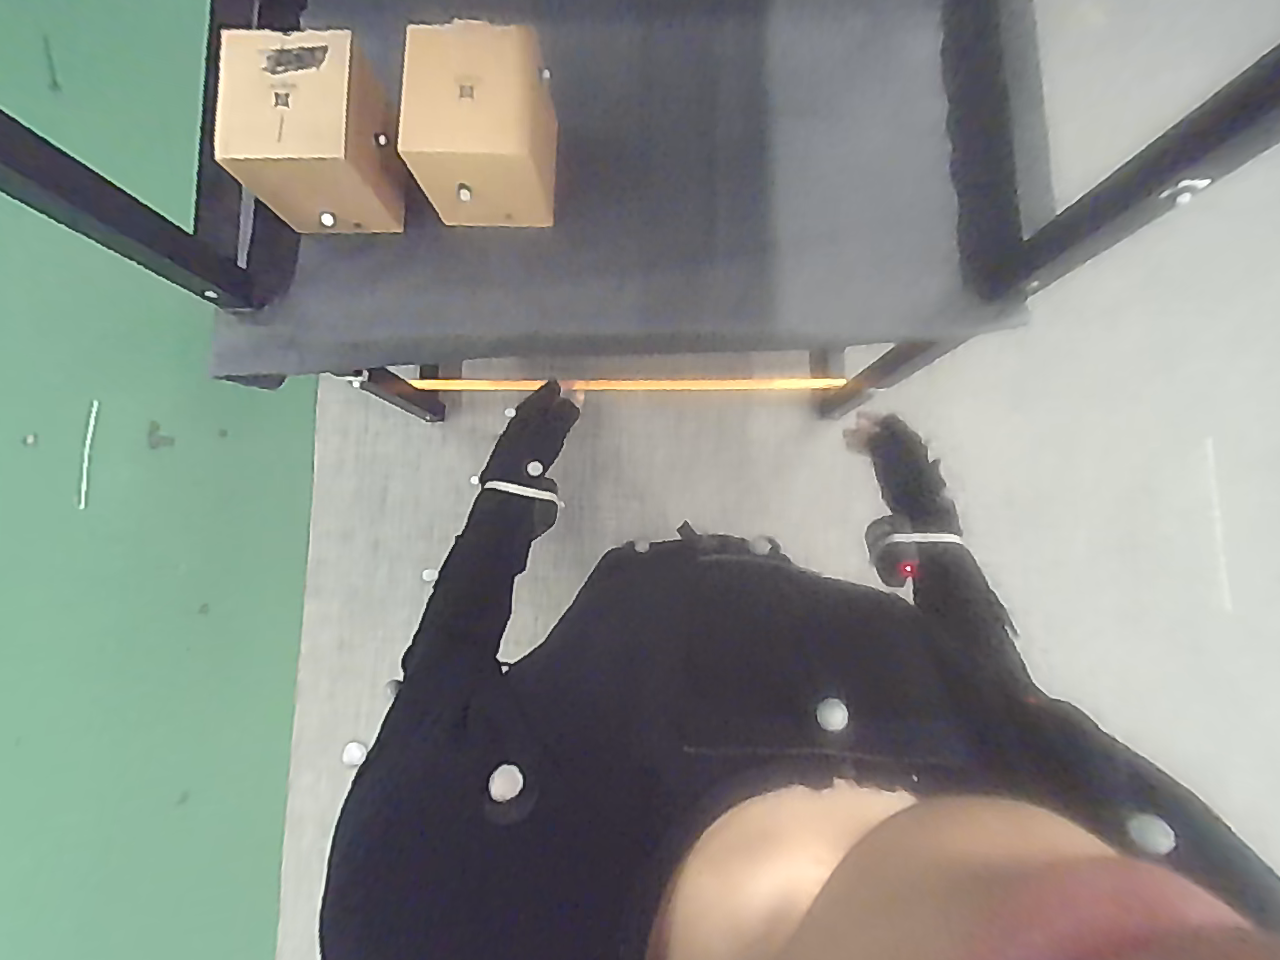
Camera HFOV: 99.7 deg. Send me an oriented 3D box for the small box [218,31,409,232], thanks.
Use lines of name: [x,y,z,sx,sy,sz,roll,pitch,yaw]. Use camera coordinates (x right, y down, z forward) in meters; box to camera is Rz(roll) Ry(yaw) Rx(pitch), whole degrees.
small box: [-0.441,-0.477,0.759,0.168,0.176,0.179,0,85,0]

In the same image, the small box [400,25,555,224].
small box: [-0.215,-0.485,0.759,0.168,0.176,0.179,1,83,1]
